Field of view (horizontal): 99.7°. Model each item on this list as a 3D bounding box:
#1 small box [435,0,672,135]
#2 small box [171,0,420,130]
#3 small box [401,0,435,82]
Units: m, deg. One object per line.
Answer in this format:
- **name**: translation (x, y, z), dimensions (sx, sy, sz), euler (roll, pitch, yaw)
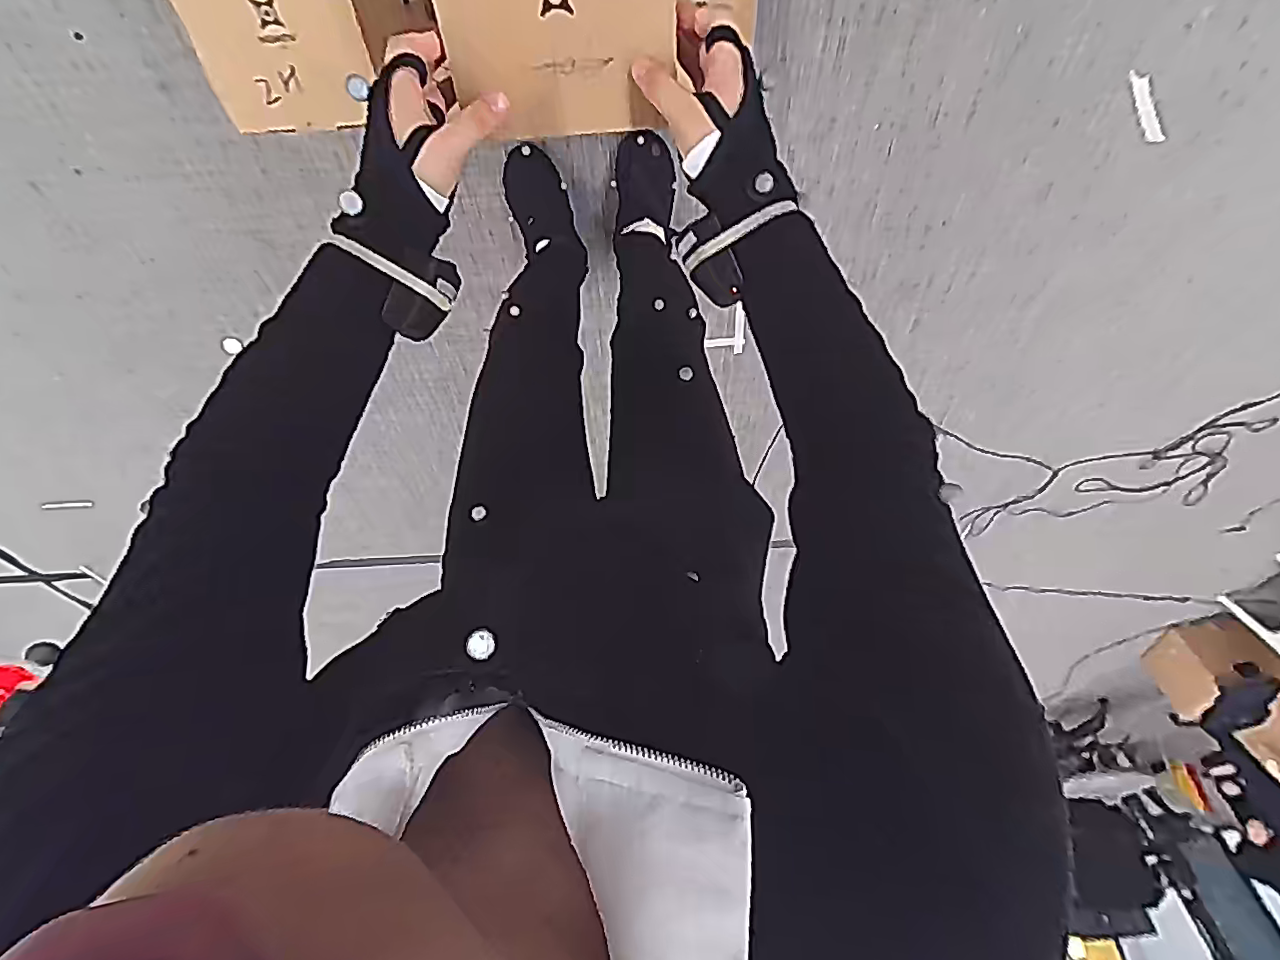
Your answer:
- **small box**: translation (-0.063, -0.398, 0.421), dimensions (0.168, 0.176, 0.179), euler (-3, 139, 2)
- **small box**: translation (-0.352, -0.492, 0.564), dimensions (0.168, 0.176, 0.179), euler (-3, 138, 0)
- **small box**: translation (-0.379, -0.609, 0.679), dimensions (0.168, 0.176, 0.179), euler (-5, 139, 1)
